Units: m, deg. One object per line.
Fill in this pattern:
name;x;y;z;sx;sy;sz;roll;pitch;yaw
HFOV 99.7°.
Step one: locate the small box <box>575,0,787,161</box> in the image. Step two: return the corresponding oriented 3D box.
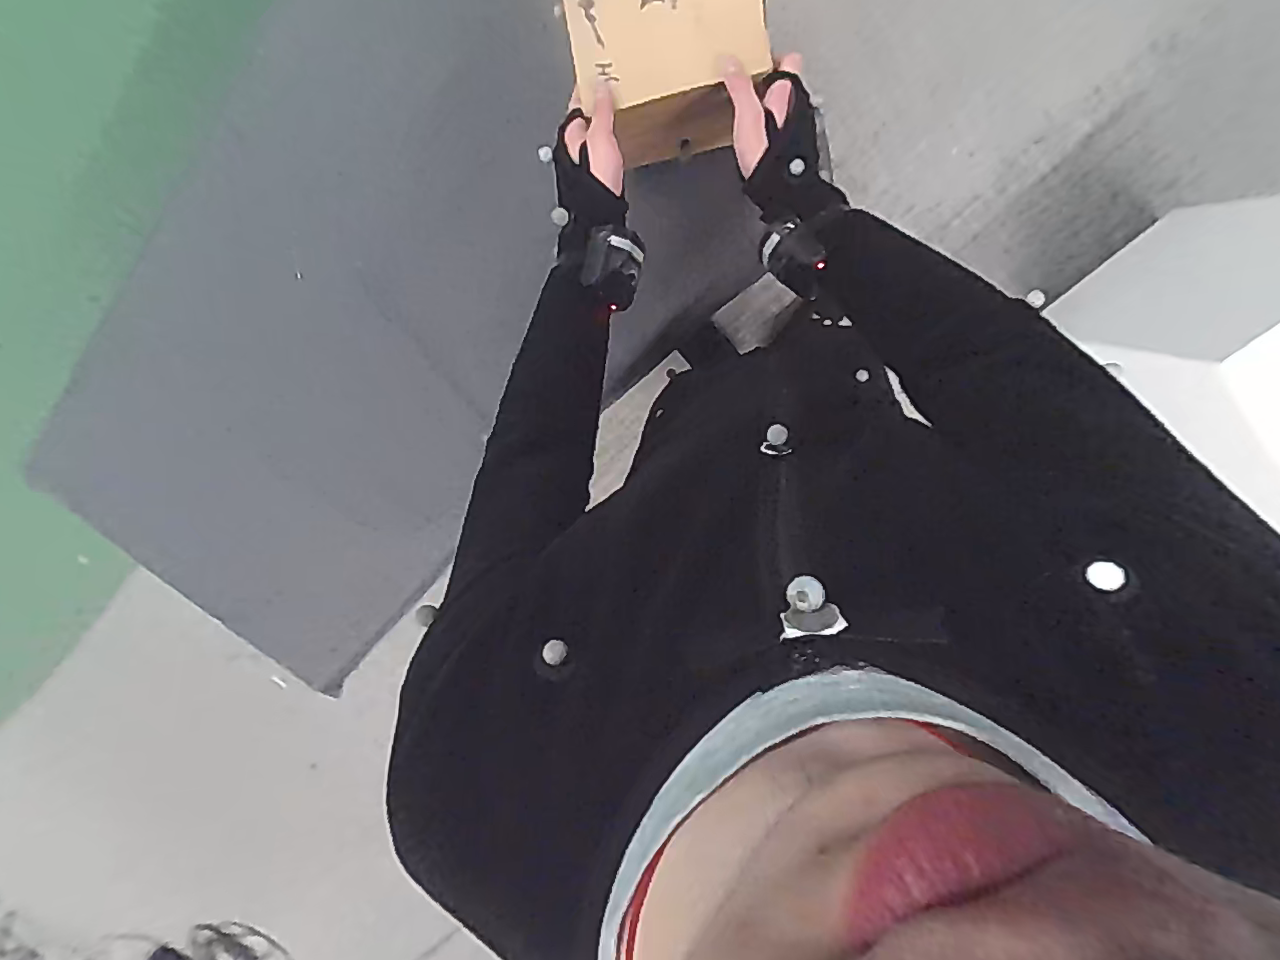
small box;0.036;-0.440;0.530;0.179;0.176;0.168;-7;103;7
